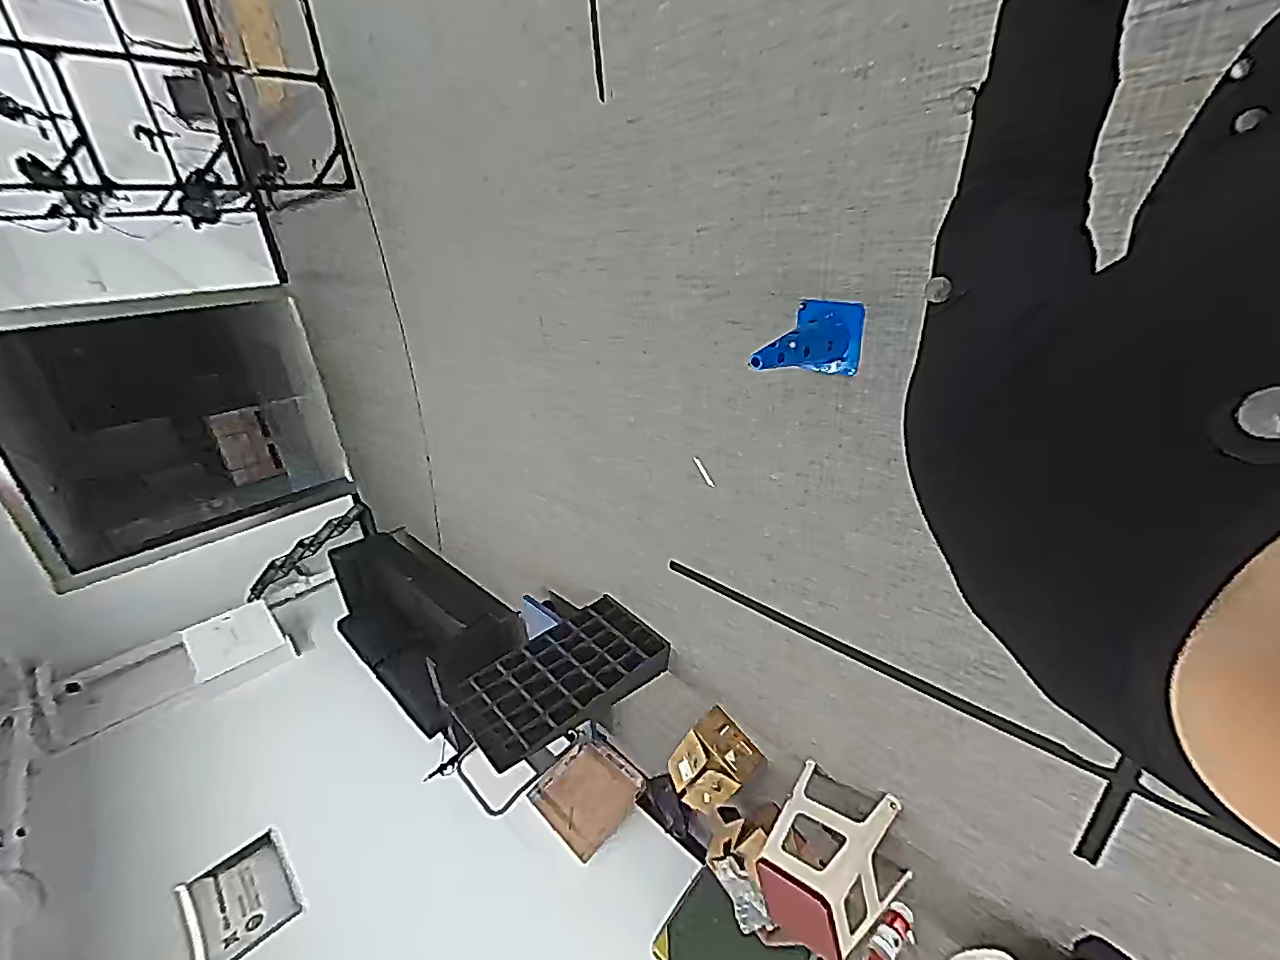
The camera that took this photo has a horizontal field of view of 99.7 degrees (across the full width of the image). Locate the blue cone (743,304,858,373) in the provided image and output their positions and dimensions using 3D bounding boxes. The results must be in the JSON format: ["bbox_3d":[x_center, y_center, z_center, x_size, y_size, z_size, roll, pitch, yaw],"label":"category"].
[{"bbox_3d":[0.418,-0.358,1.472,0.192,0.380,0.193,25,127,41],"label":"blue cone"}]
